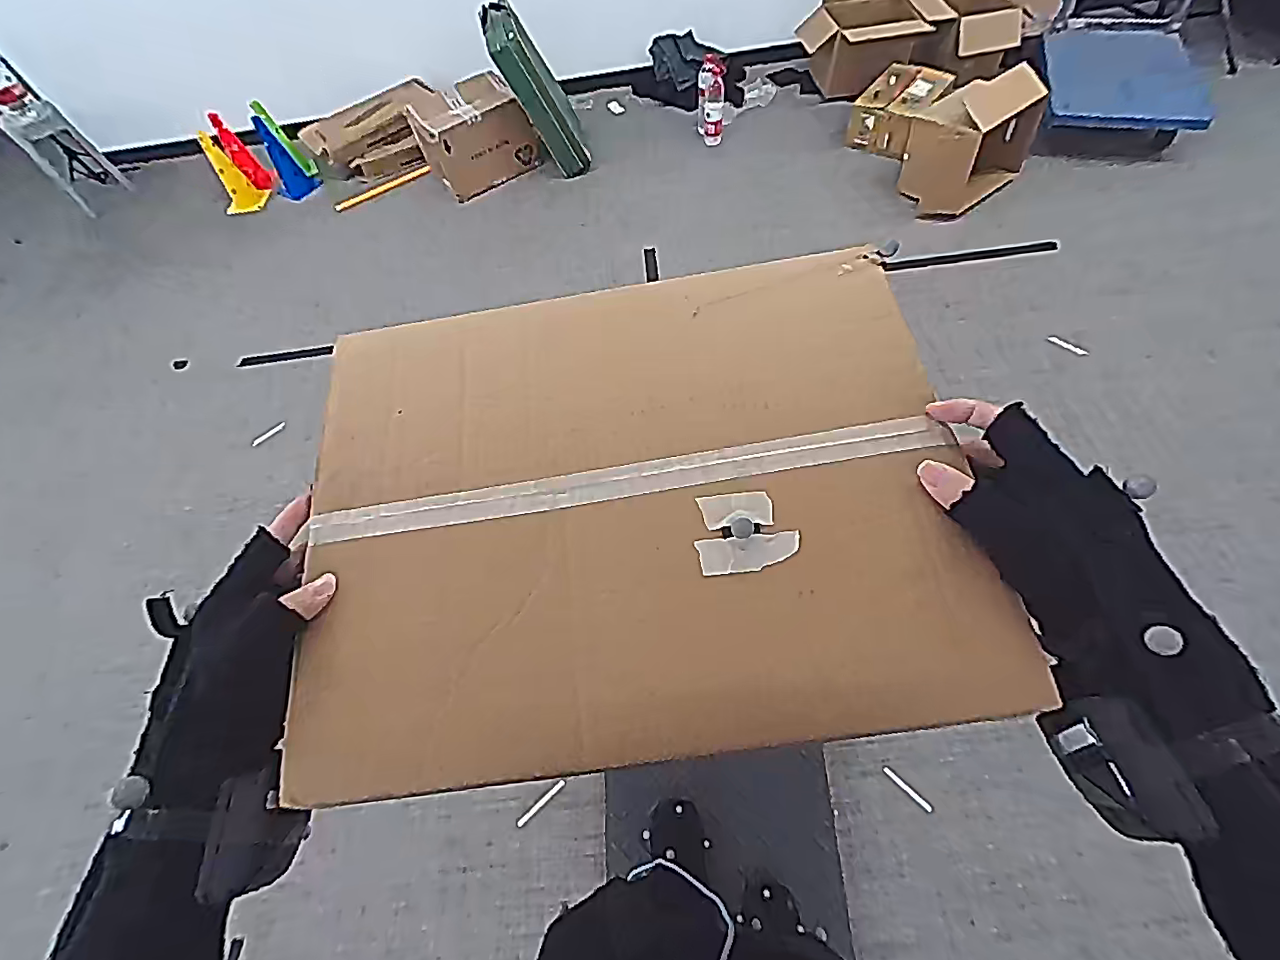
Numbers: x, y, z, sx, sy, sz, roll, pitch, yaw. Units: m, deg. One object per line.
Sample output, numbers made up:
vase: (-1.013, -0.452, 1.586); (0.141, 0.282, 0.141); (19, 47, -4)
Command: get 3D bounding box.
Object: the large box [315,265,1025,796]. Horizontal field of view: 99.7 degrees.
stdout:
large box: (0.006, 0.065, 0.490); (0.408, 0.320, 0.320); (-9, 67, 2)
